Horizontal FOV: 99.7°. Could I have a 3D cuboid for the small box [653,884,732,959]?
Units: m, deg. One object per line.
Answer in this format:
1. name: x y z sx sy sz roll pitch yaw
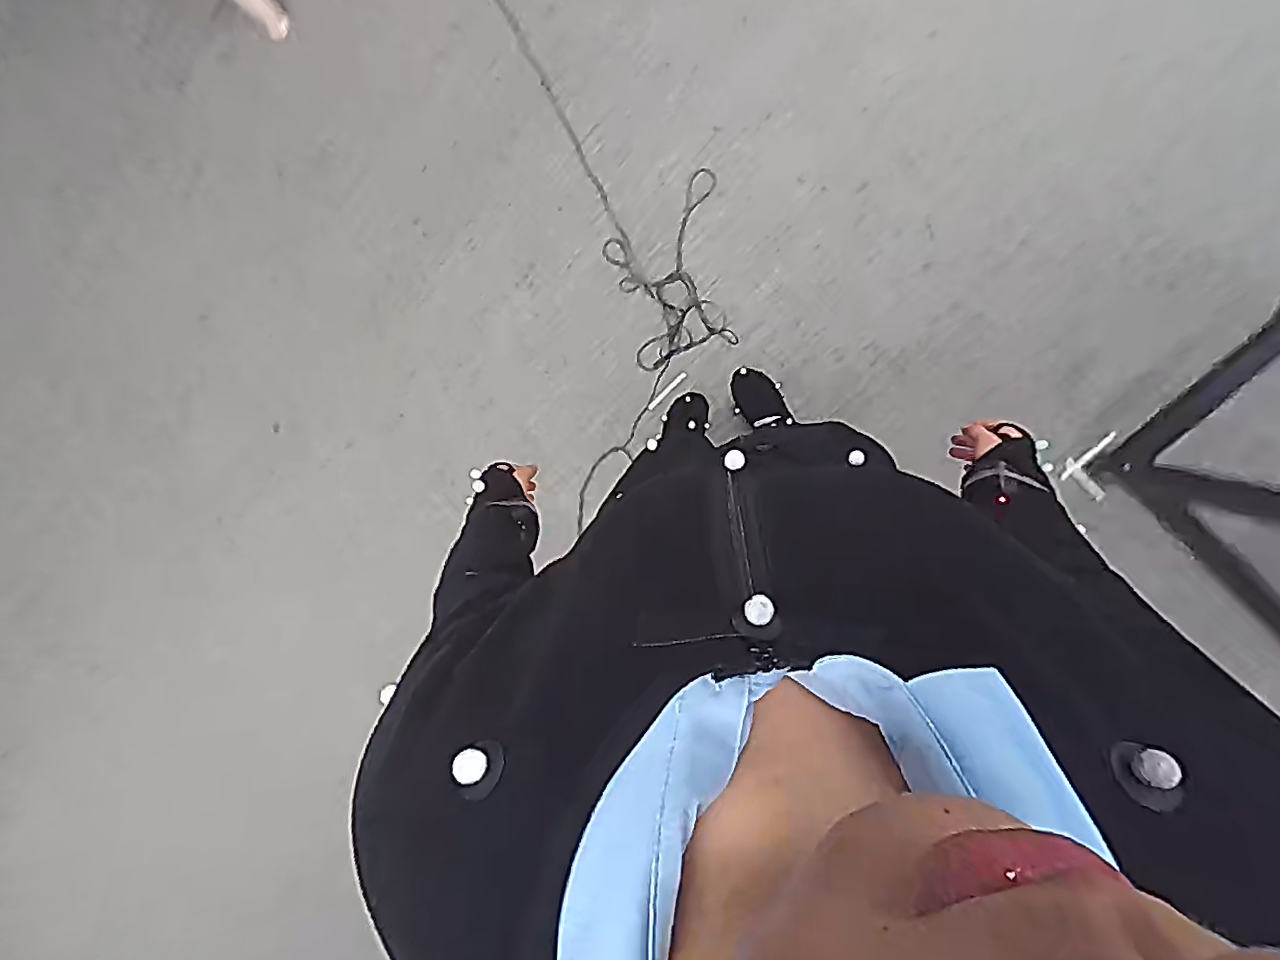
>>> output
1. small box: 0.156 1.388 1.640 0.168 0.176 0.179 43 103 -2
